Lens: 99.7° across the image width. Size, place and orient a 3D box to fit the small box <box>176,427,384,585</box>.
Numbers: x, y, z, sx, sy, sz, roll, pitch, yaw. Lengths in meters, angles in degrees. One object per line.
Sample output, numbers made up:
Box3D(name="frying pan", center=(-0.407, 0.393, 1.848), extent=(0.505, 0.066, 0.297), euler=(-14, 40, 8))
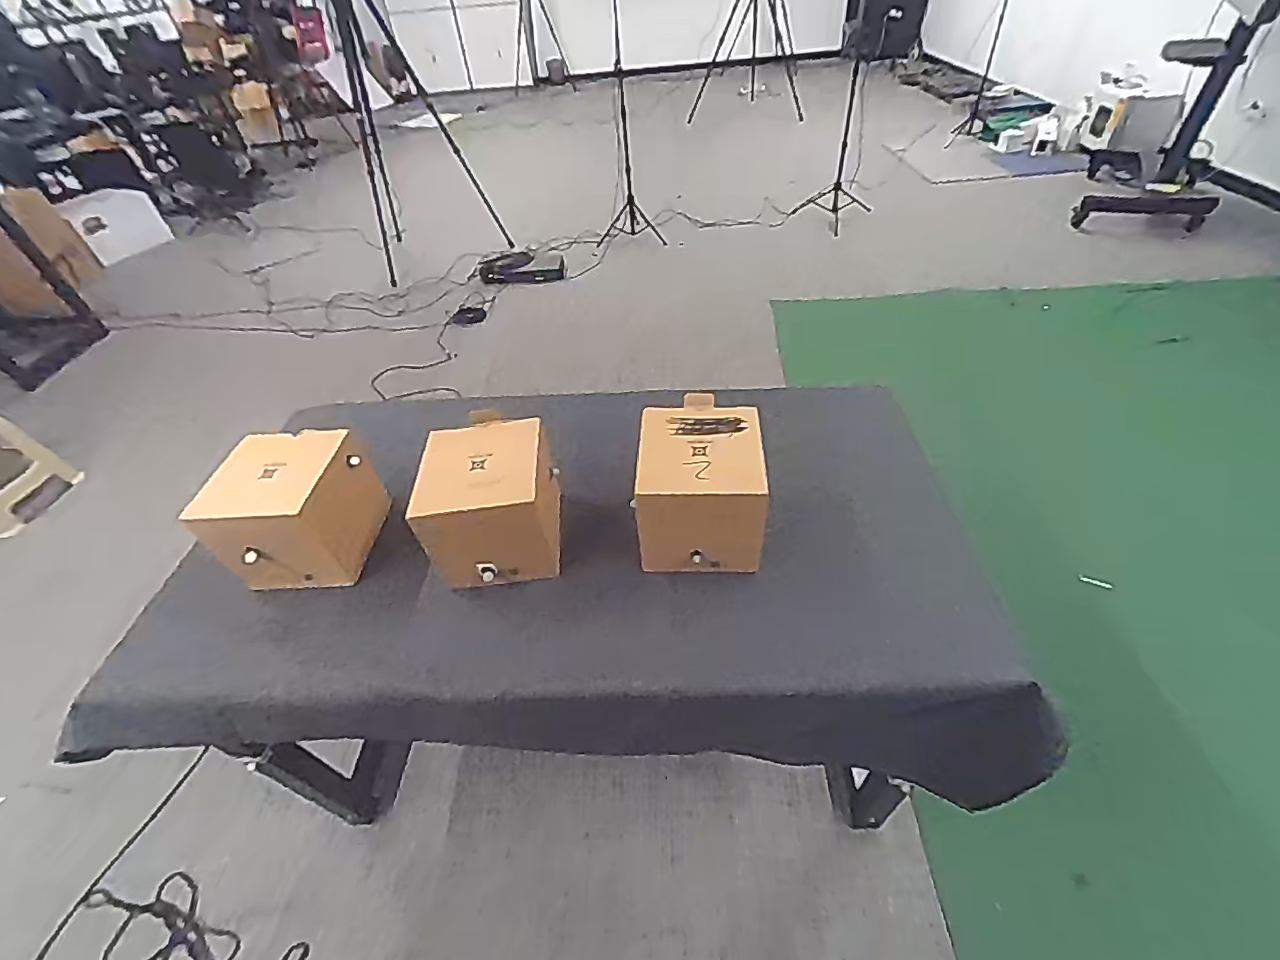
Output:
Box3D(name="small box", center=(-0.514, 0.044, 0.808), extent=(0.168, 0.176, 0.179), euler=(-3, 43, 2))

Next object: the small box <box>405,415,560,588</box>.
Box3D(name="small box", center=(-0.215, 0.032, 0.789), extent=(0.168, 0.176, 0.179), euler=(-9, 45, -1))
